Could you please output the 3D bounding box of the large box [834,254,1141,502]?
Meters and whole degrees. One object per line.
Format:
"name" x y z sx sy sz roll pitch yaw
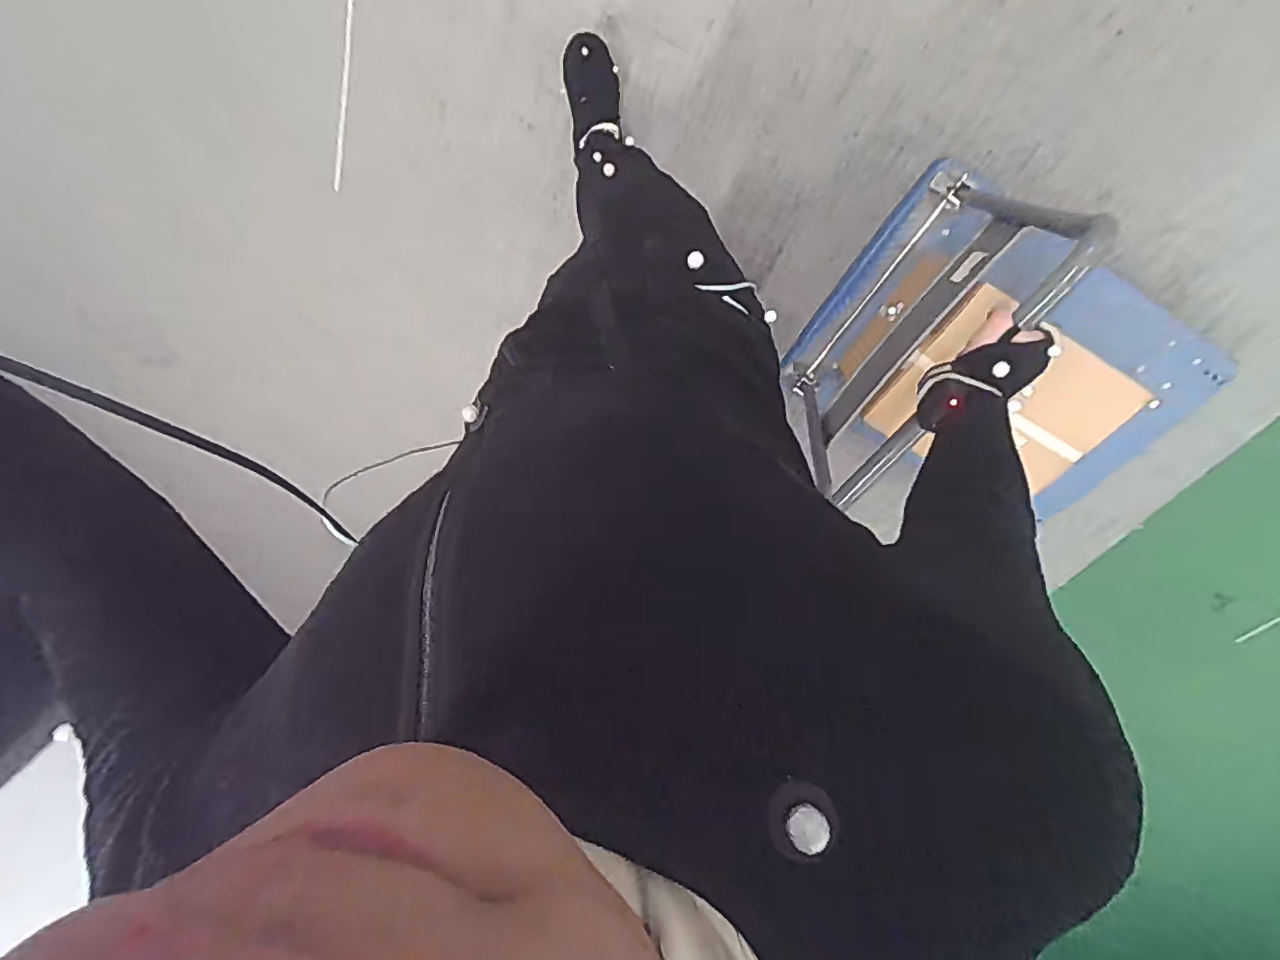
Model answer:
"large box" 0.699 -0.228 1.167 0.408 0.320 0.320 28 123 -9
